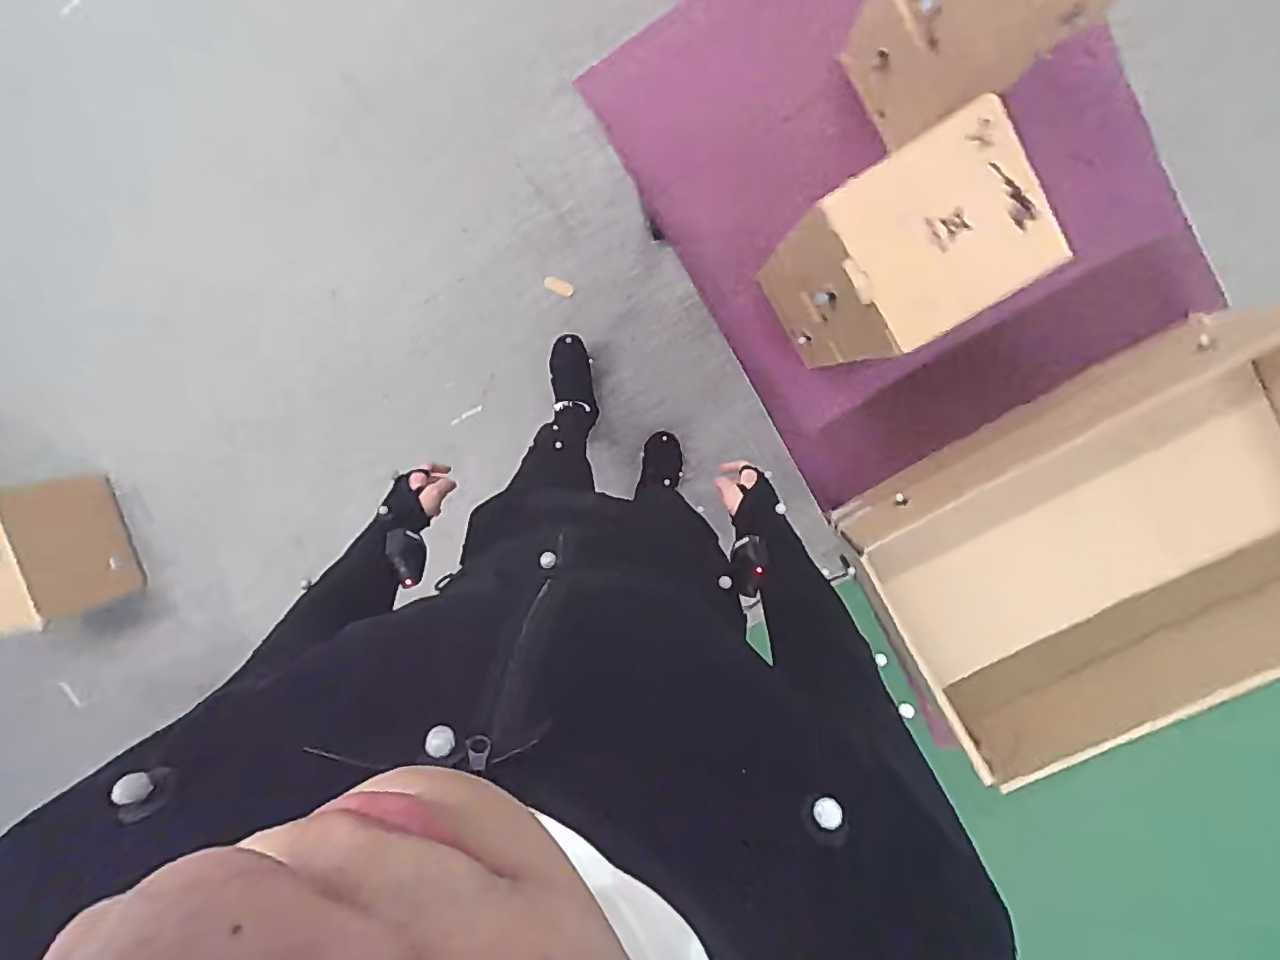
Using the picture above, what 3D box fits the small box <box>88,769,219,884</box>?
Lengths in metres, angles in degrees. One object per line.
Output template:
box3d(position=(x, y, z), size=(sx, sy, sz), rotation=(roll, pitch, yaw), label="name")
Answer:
box3d(position=(-1.297, 0.917, 1.451), size=(0.179, 0.176, 0.168), rotation=(27, 99, -1), label="small box")

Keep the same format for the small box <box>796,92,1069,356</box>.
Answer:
box3d(position=(0.284, -0.245, 0.574), size=(0.179, 0.176, 0.168), rotation=(-30, 97, 8), label="small box")

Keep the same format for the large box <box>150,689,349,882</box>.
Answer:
box3d(position=(-1.233, 0.939, 1.702), size=(0.408, 0.320, 0.320), rotation=(27, 101, -2), label="large box")

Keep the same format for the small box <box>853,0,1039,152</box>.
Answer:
box3d(position=(0.394, -0.558, 0.683), size=(0.179, 0.176, 0.168), rotation=(-31, 96, 7), label="small box")

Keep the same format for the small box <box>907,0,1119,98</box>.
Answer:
box3d(position=(0.389, -0.527, 0.521), size=(0.179, 0.176, 0.168), rotation=(-27, 96, 8), label="small box")

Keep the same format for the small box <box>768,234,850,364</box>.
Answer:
box3d(position=(0.289, -0.270, 0.736), size=(0.179, 0.176, 0.168), rotation=(-29, 97, 6), label="small box")
